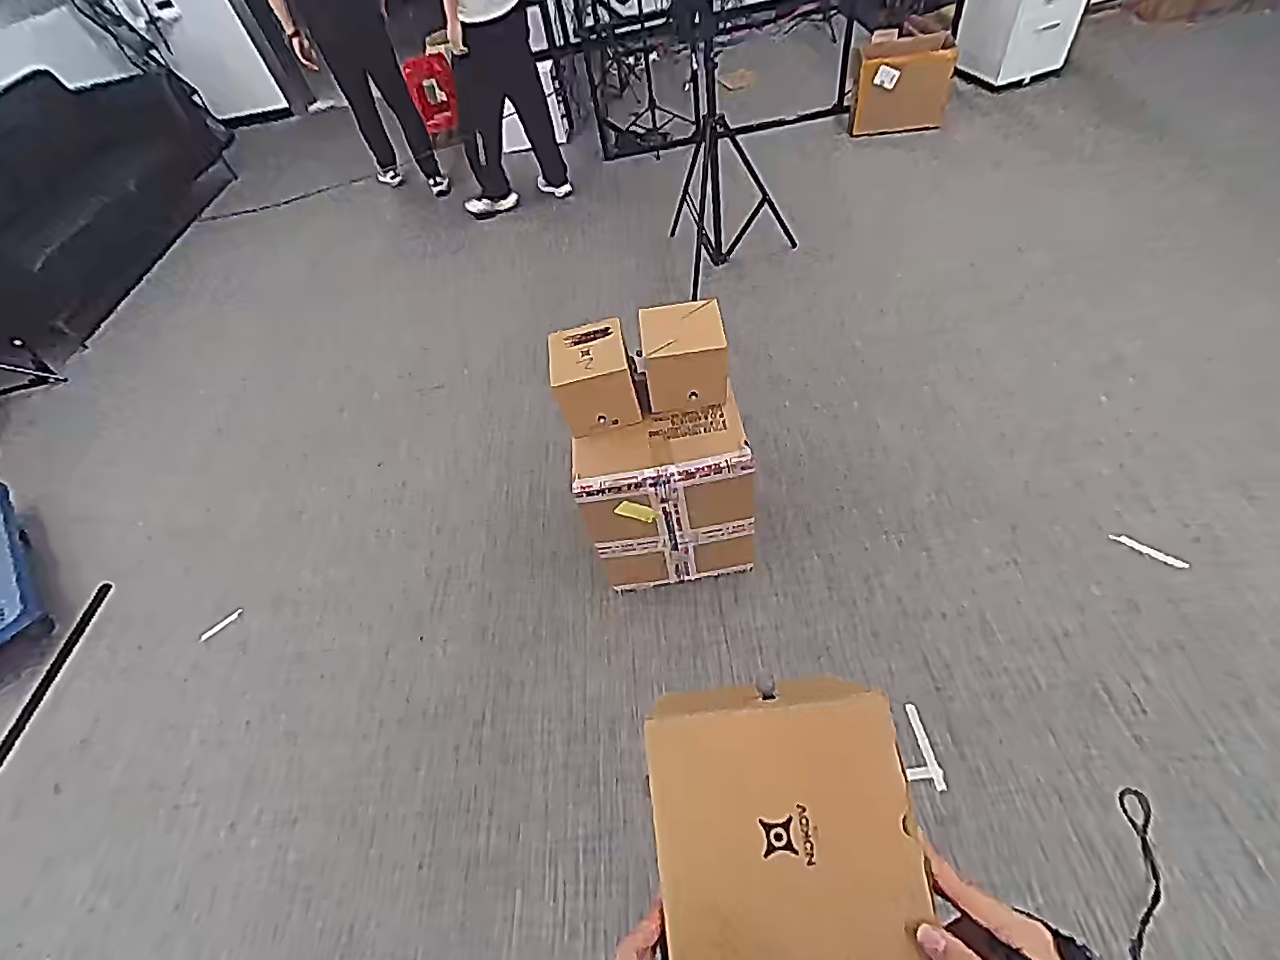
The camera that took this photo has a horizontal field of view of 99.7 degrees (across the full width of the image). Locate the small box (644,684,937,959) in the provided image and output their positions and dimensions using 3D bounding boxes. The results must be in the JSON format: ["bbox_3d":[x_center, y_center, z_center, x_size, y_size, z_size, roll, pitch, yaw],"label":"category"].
[{"bbox_3d":[0.105,0.268,0.449,0.179,0.176,0.168,-8,73,3],"label":"small box"}]
